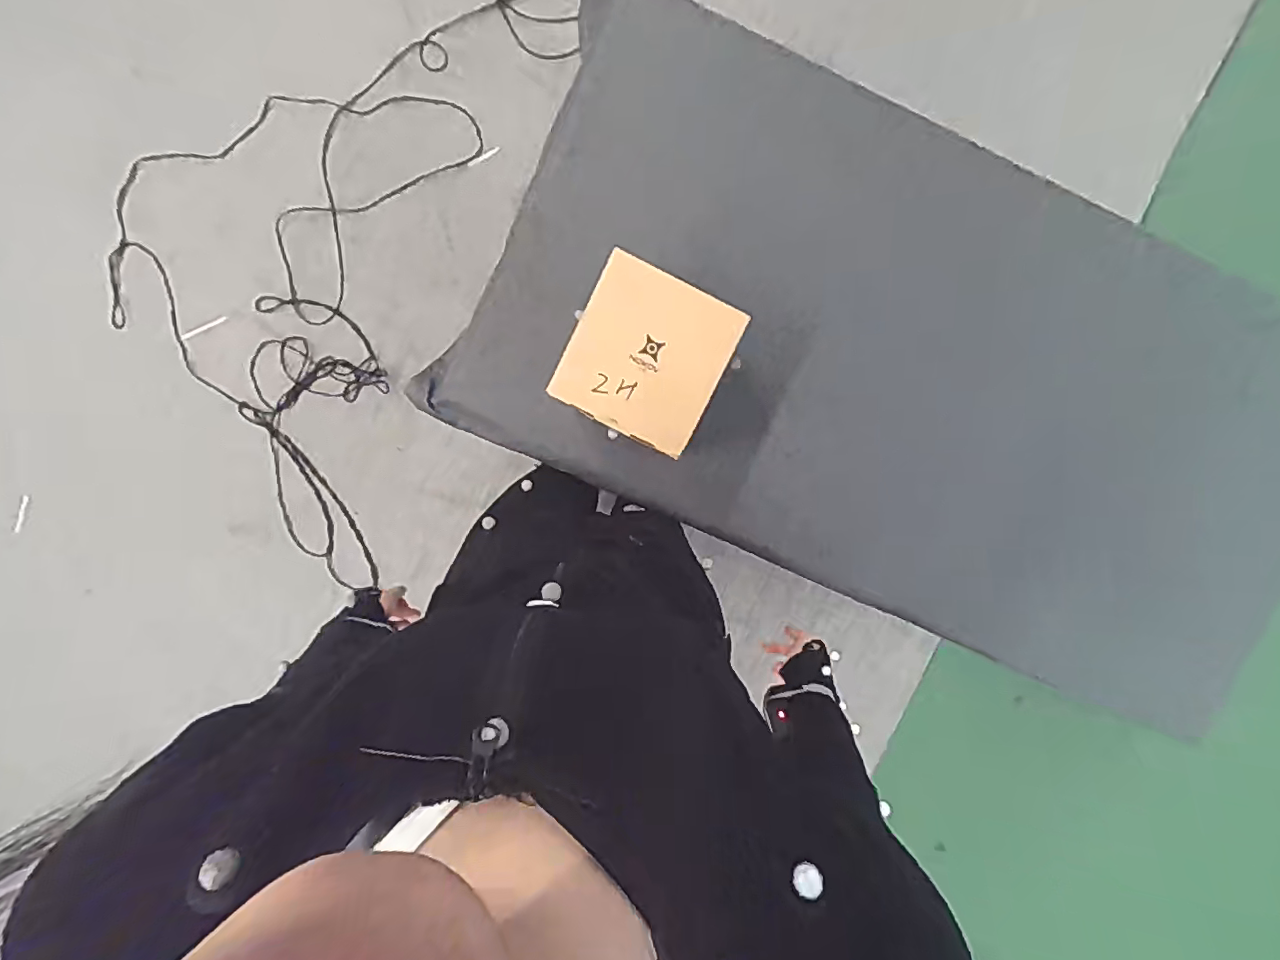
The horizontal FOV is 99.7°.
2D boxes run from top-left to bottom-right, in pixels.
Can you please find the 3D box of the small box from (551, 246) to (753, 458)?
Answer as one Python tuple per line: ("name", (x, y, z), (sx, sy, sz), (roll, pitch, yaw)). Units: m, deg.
("small box", (0.010, -0.142, 0.657), (0.168, 0.176, 0.179), (26, 94, -3))
